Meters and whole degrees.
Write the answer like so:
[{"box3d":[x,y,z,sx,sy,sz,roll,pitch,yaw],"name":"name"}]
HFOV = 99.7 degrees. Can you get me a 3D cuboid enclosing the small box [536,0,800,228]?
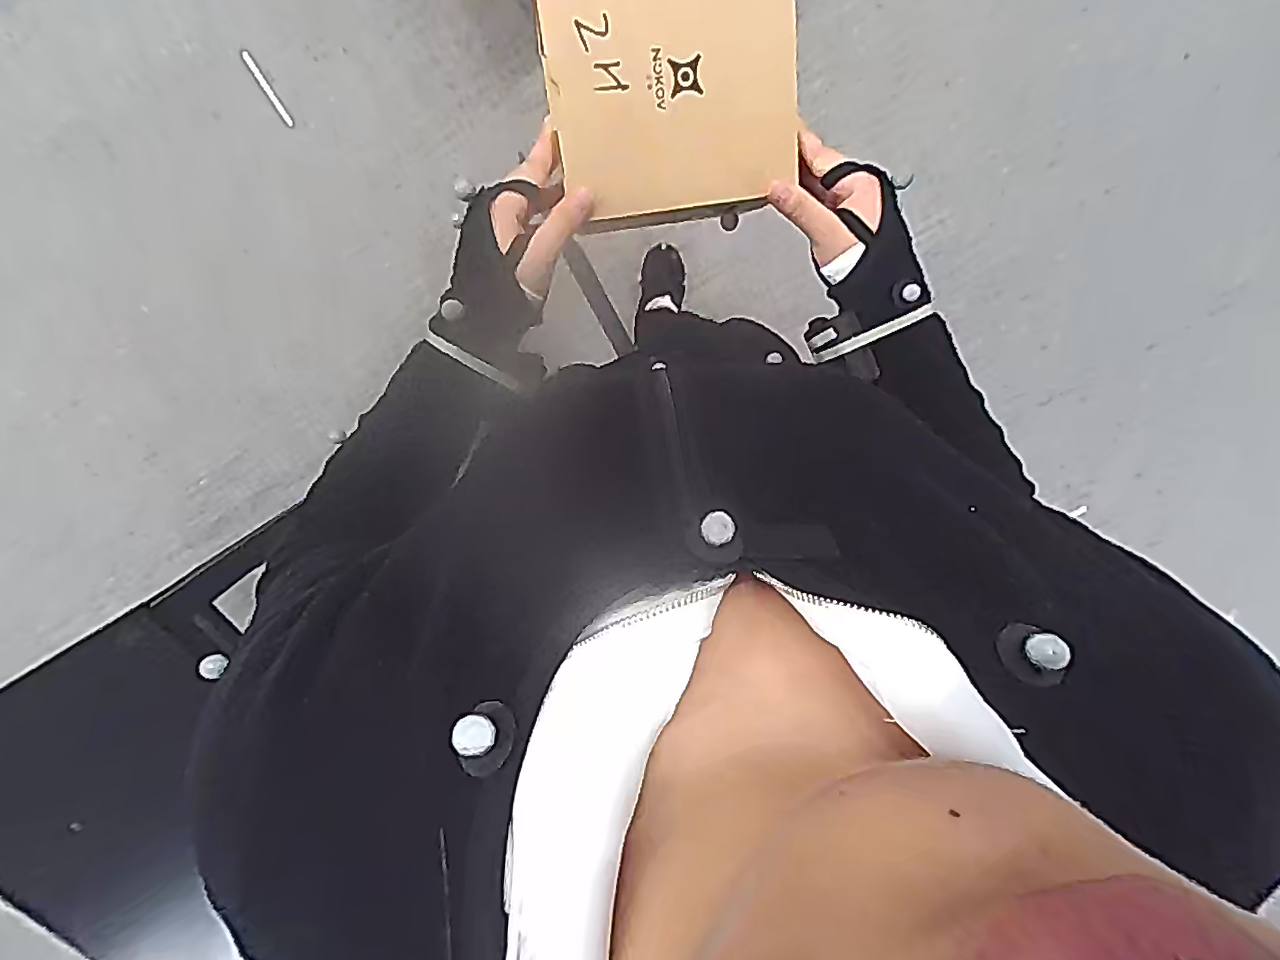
[{"box3d":[0.018,-0.312,0.446,0.179,0.176,0.168,-8,112,0],"name":"small box"}]
